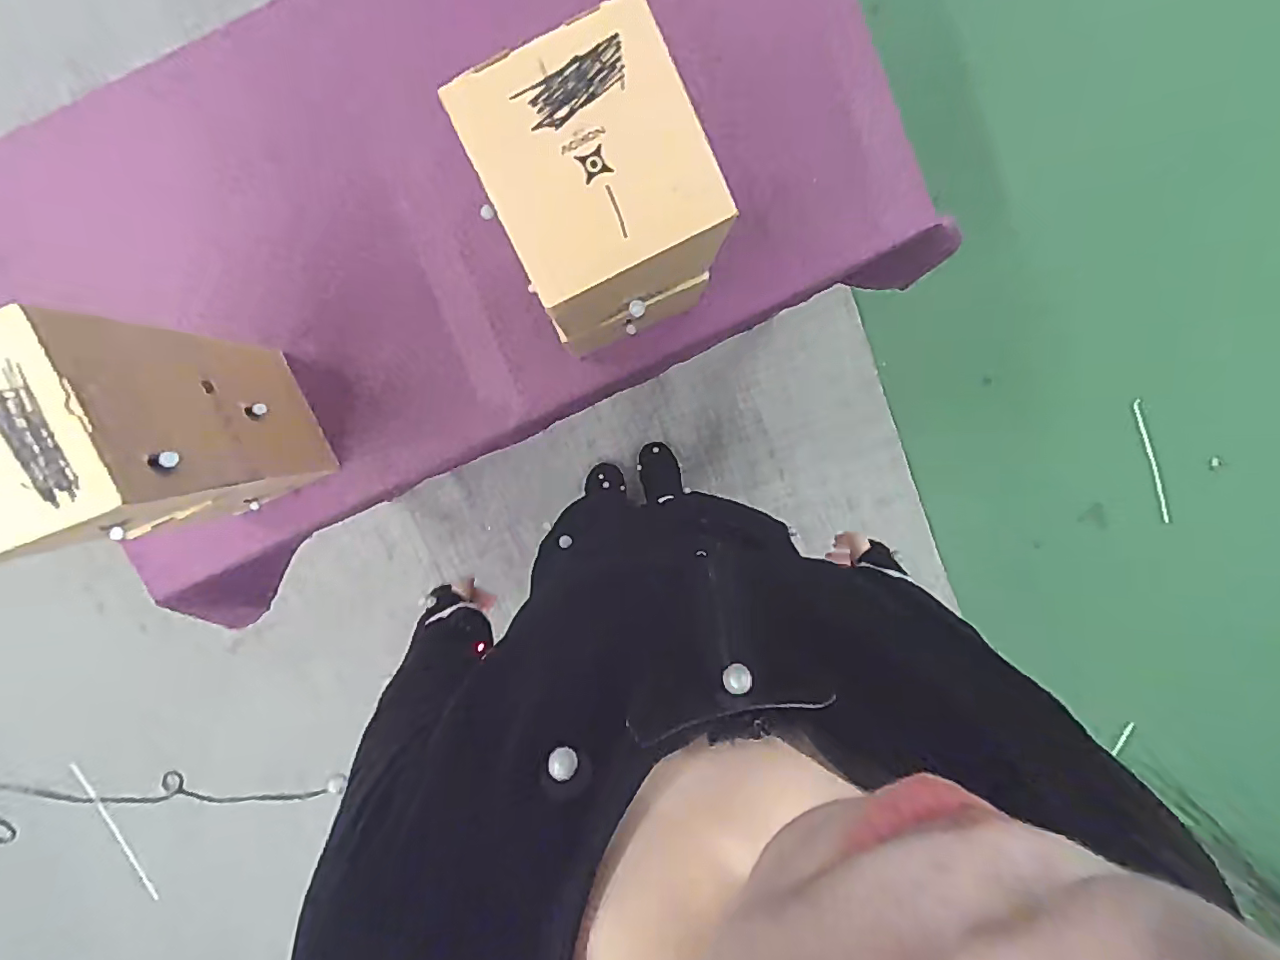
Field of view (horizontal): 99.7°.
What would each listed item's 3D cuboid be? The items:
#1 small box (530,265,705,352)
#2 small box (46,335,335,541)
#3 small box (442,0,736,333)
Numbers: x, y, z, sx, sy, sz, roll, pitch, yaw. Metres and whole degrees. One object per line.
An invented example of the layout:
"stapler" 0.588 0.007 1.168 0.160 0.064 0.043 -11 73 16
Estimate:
"small box" -0.041 -0.265 0.643 0.179 0.176 0.168 -24 98 1
"small box" -0.517 -0.051 0.653 0.168 0.176 0.179 -25 98 1
"small box" -0.040 -0.252 0.478 0.168 0.176 0.179 -27 98 2
